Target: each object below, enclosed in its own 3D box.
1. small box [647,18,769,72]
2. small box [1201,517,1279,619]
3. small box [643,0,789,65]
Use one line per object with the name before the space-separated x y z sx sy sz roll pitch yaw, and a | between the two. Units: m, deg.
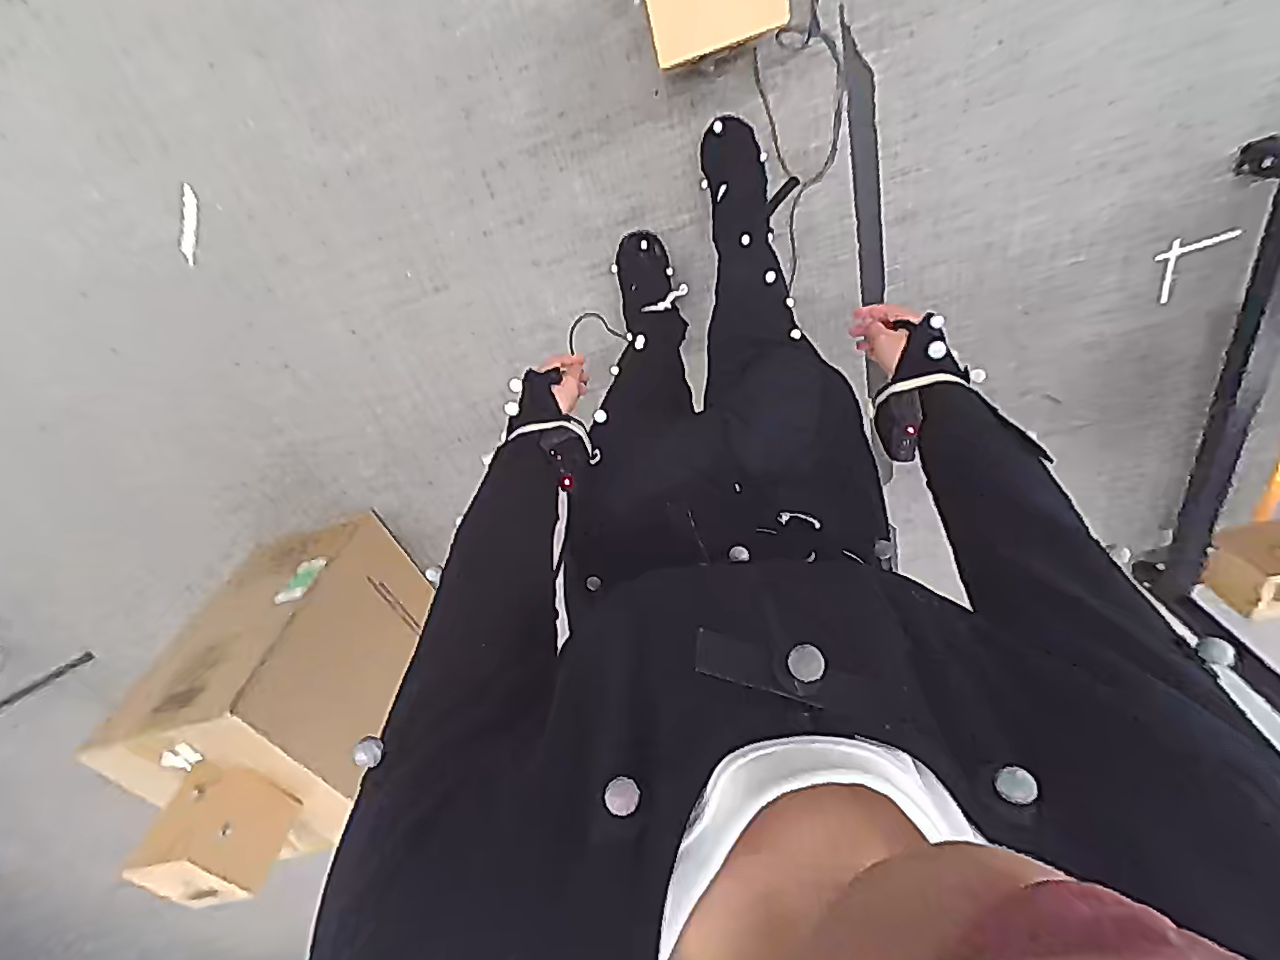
small box | 0.087 -0.747 0.813 0.168 0.176 0.179 -13 124 11
small box | 1.575 0.214 1.347 0.179 0.176 0.168 -15 122 9
small box | 0.081 -0.653 0.681 0.168 0.176 0.179 -13 123 11
